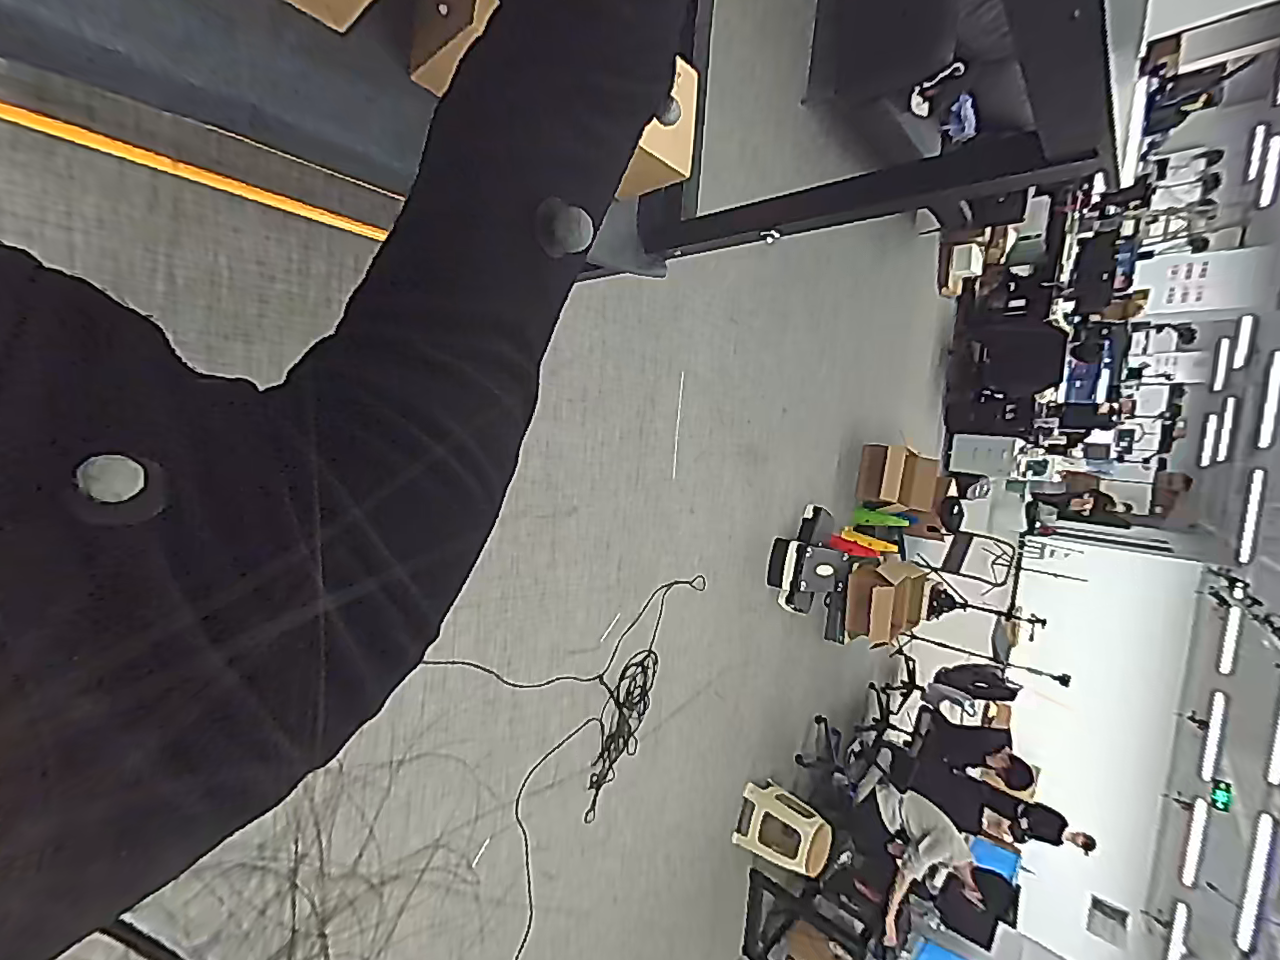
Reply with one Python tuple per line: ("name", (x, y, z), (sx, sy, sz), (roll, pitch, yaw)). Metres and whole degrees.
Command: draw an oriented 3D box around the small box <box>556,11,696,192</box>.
("small box", (-0.027, -0.621, 0.920), (0.168, 0.176, 0.179), (0, 96, -48))
